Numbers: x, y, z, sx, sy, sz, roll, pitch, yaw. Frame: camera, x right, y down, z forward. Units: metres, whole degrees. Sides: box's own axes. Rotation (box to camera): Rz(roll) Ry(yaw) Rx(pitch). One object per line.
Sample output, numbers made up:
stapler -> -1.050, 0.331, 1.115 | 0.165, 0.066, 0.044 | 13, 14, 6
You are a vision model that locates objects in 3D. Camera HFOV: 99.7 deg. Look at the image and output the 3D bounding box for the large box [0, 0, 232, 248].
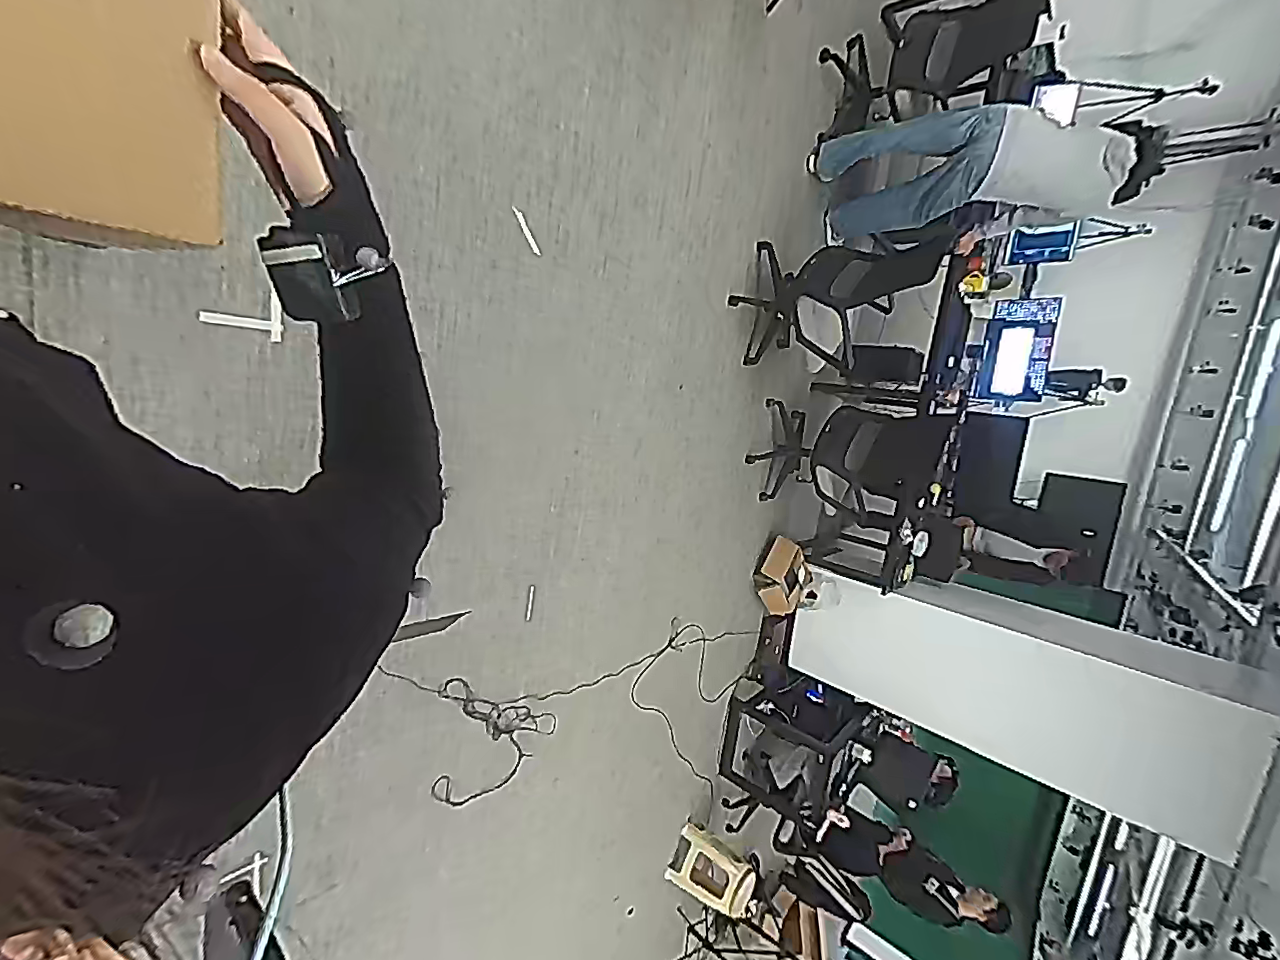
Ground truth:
large box -> -0.481, -0.319, 0.260 | 0.408, 0.320, 0.320 | -6, 109, -49
